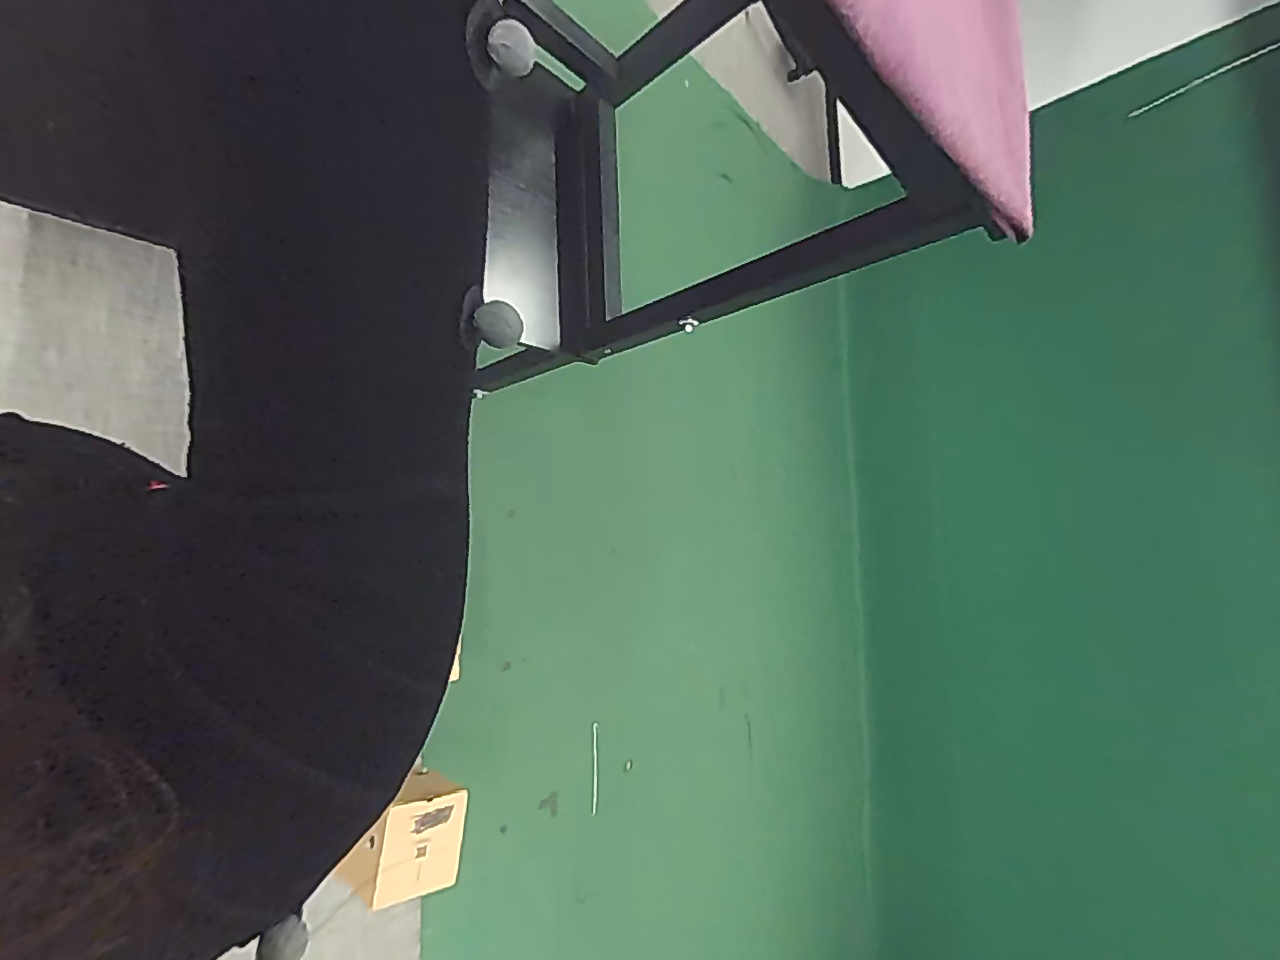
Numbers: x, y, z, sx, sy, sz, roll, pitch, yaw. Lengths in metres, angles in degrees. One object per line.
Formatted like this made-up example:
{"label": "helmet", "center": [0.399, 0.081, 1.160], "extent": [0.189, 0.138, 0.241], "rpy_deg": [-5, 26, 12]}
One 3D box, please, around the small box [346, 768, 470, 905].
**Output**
{"label": "small box", "center": [-0.472, 0.703, 1.097], "extent": [0.168, 0.176, 0.179], "rpy_deg": [17, 74, -44]}
